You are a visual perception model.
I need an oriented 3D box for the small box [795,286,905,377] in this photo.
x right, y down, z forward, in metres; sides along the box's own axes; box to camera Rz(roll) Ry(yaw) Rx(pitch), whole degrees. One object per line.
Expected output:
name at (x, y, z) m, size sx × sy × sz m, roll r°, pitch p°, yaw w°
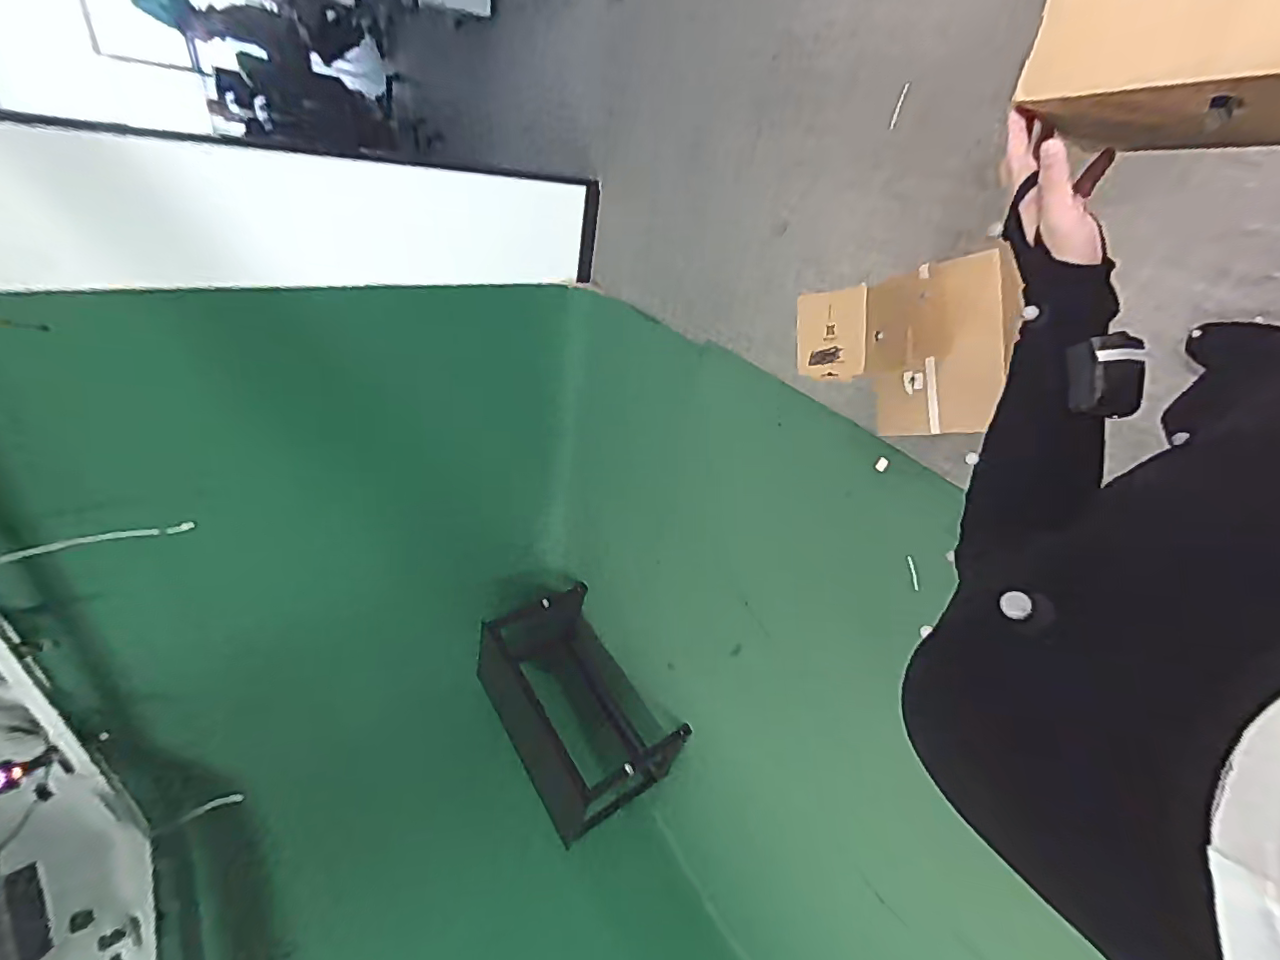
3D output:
small box at (0.462, -0.324, 1.186) m, size 0.168 × 0.176 × 0.179 m, roll 12°, pitch 112°, yaw 51°

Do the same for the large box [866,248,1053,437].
large box at (0.824, -0.344, 1.396) m, size 0.320 × 0.320 × 0.408 m, roll 2°, pitch 105°, yaw 54°
